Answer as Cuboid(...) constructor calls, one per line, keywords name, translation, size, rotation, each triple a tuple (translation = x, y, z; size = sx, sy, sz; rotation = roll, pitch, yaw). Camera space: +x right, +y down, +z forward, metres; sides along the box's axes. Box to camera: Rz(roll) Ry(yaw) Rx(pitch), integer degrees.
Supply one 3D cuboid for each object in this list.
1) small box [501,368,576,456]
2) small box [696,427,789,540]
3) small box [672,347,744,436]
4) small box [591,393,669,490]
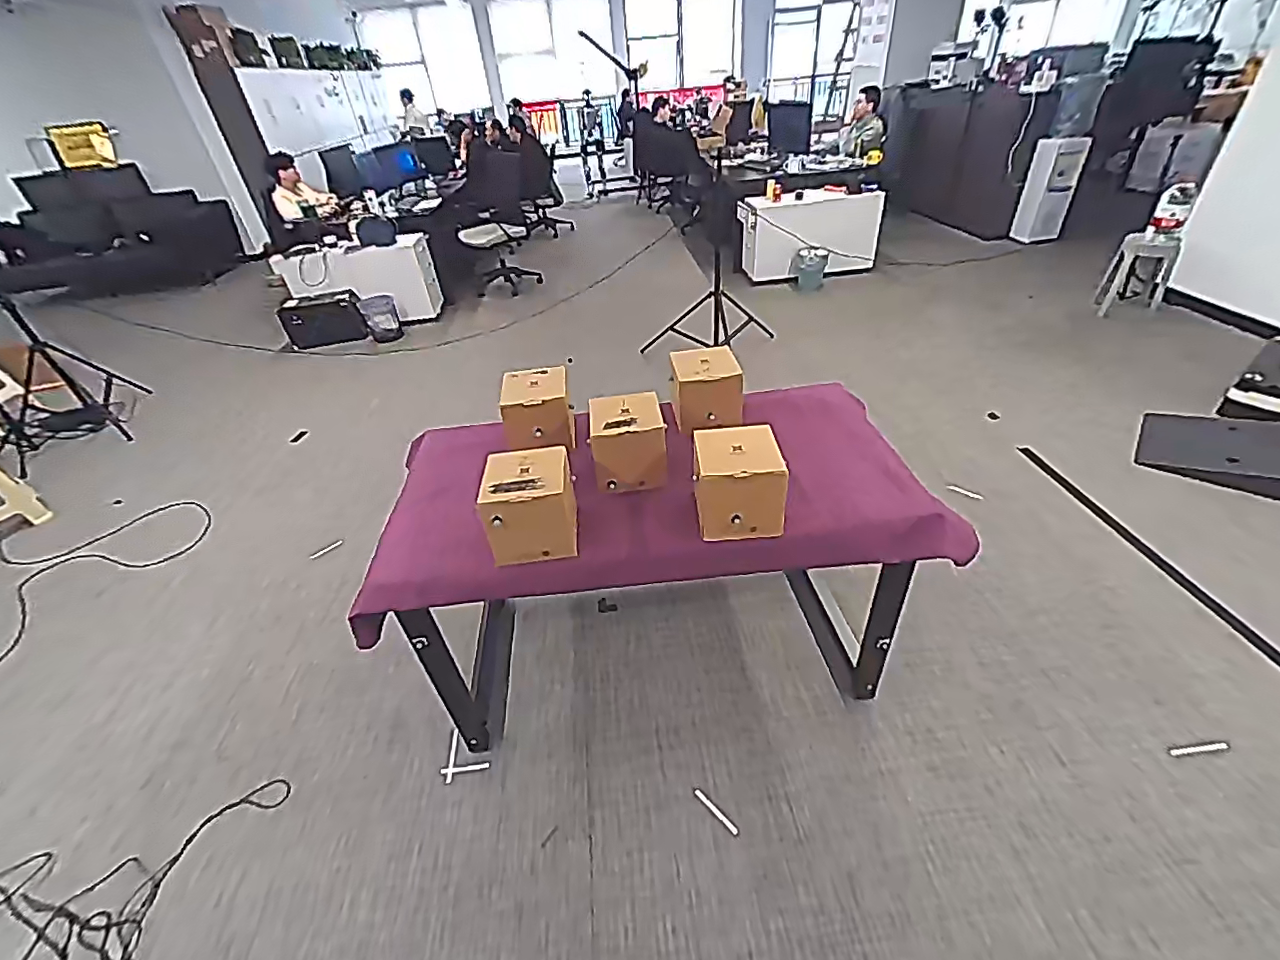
Cuboid(name="small box", translation=(-0.263, -0.176, 1.444), size=(0.168, 0.176, 0.179), rotation=(-7, 39, -2))
Cuboid(name="small box", translation=(0.207, 0.007, 1.142), size=(0.168, 0.176, 0.179), rotation=(-4, 36, 2))
Cuboid(name="small box", translation=(0.180, -0.240, 1.468), size=(0.168, 0.176, 0.179), rotation=(-8, 38, -1))
Cuboid(name="small box", translation=(-0.025, -0.087, 1.299), size=(0.168, 0.176, 0.179), rotation=(-7, 36, -1))
